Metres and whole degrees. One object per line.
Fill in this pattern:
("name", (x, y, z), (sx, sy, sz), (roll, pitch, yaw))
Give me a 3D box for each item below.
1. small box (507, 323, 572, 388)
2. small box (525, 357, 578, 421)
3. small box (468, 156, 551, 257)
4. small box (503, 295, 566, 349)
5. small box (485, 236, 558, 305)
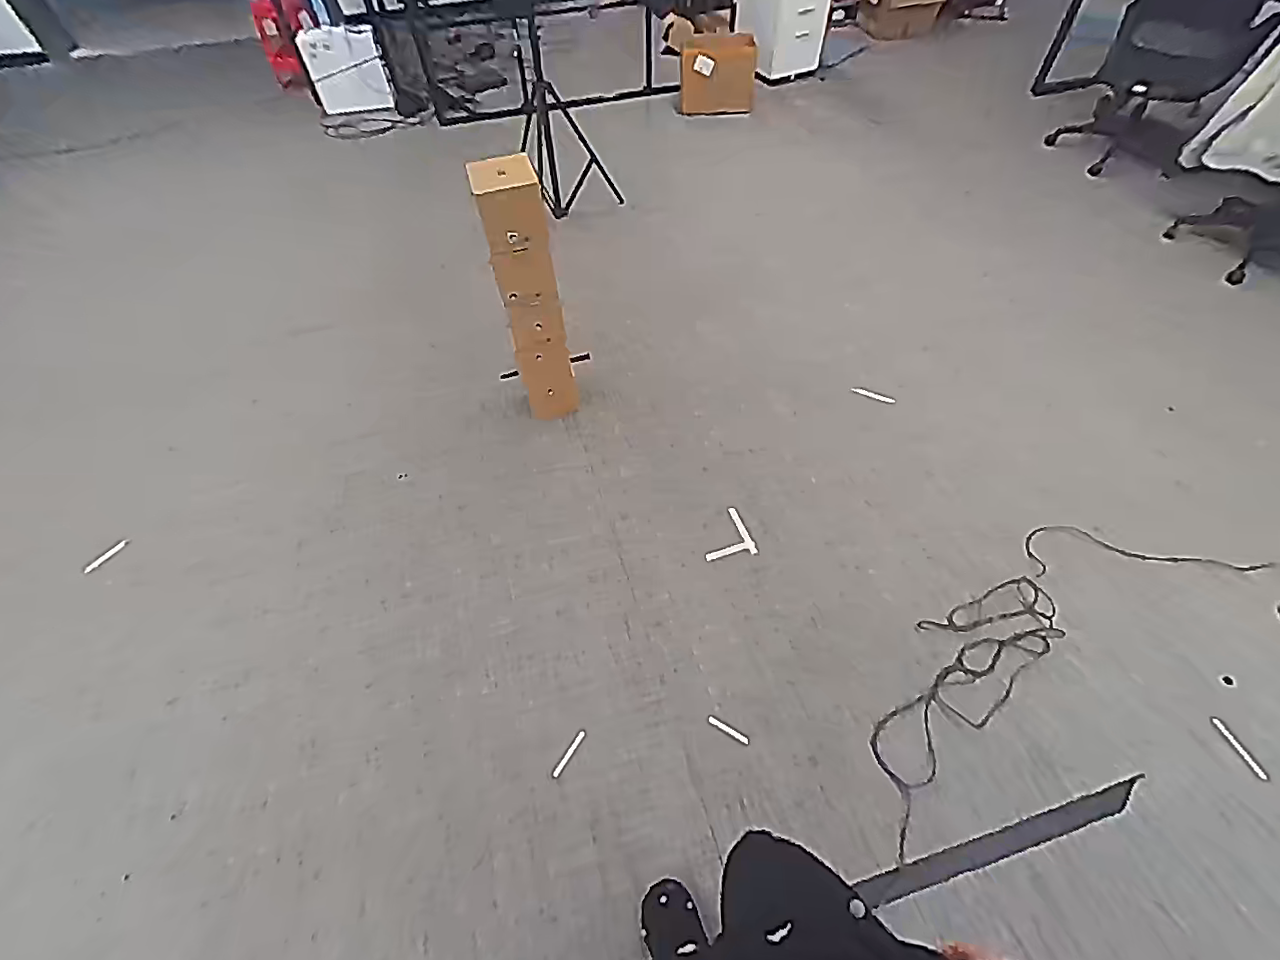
("small box", (-0.337, -0.432, 1.830), (0.179, 0.176, 0.168), (-13, 56, -7))
("small box", (-0.326, -0.340, 1.966), (0.179, 0.176, 0.168), (-15, 55, -8))
("small box", (-0.345, -0.724, 1.438), (0.168, 0.176, 0.179), (-16, 56, -8))
("small box", (-0.334, -0.531, 1.701), (0.168, 0.176, 0.179), (-13, 56, -7))
("small box", (-0.342, -0.628, 1.568), (0.168, 0.176, 0.179), (-14, 54, -8))
